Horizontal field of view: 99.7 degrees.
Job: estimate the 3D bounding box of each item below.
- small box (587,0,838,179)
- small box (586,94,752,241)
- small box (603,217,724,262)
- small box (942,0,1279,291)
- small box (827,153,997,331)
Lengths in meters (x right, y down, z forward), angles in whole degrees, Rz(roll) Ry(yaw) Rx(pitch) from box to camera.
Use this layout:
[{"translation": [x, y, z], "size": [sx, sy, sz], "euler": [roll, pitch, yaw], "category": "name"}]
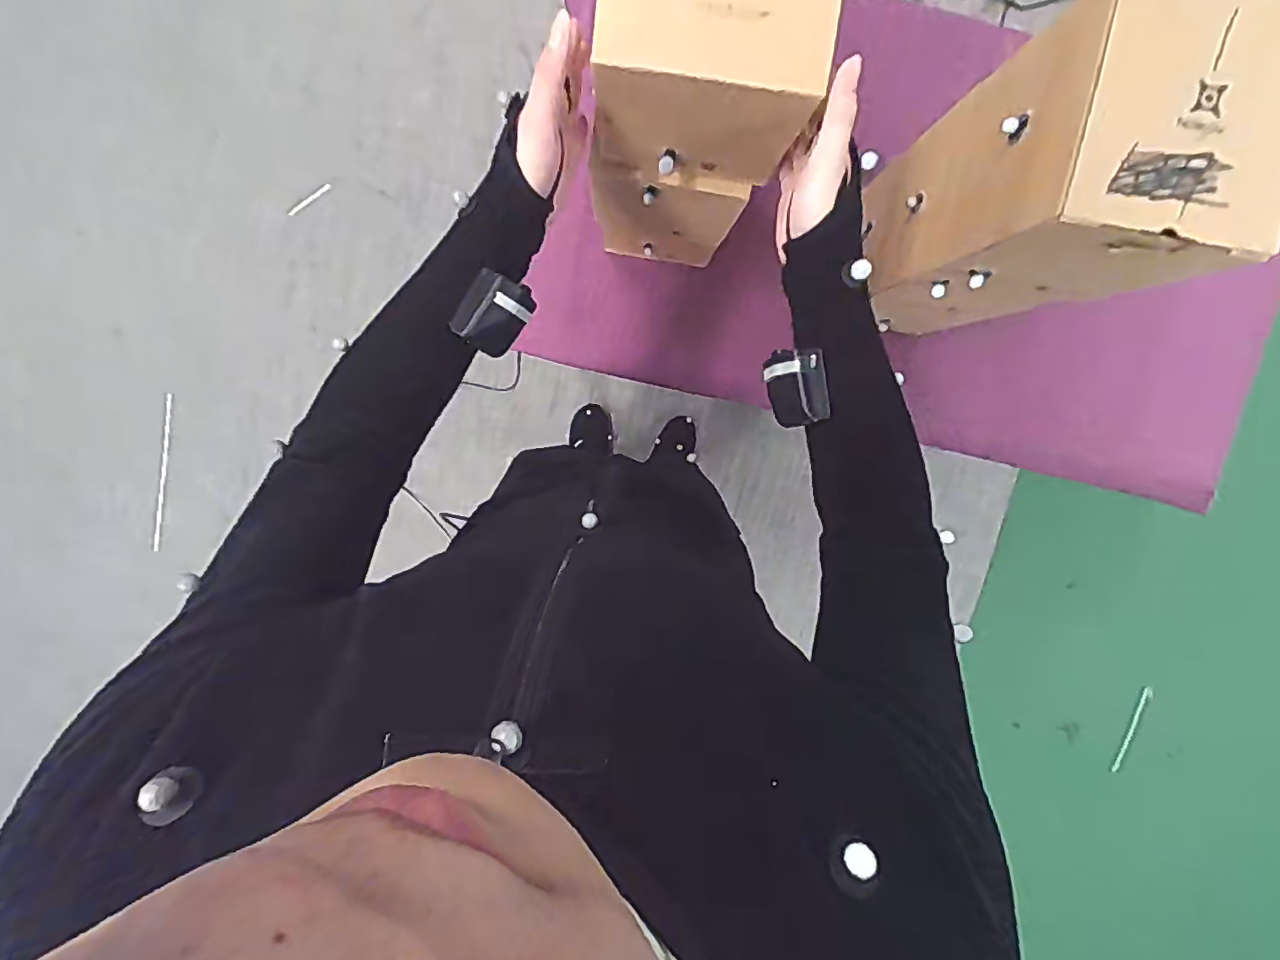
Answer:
[{"translation": [0.053, -0.373, 0.429], "size": [0.168, 0.176, 0.179], "euler": [7, 99, -2], "category": "small box"}, {"translation": [0.039, -0.388, 0.592], "size": [0.168, 0.176, 0.179], "euler": [9, 98, -3], "category": "small box"}, {"translation": [0.038, -0.424, 0.752], "size": [0.168, 0.176, 0.179], "euler": [7, 99, -3], "category": "small box"}, {"translation": [0.386, -0.271, 0.448], "size": [0.168, 0.176, 0.179], "euler": [9, 97, -3], "category": "small box"}, {"translation": [0.387, -0.324, 0.773], "size": [0.168, 0.176, 0.179], "euler": [11, 98, -2], "category": "small box"}]
